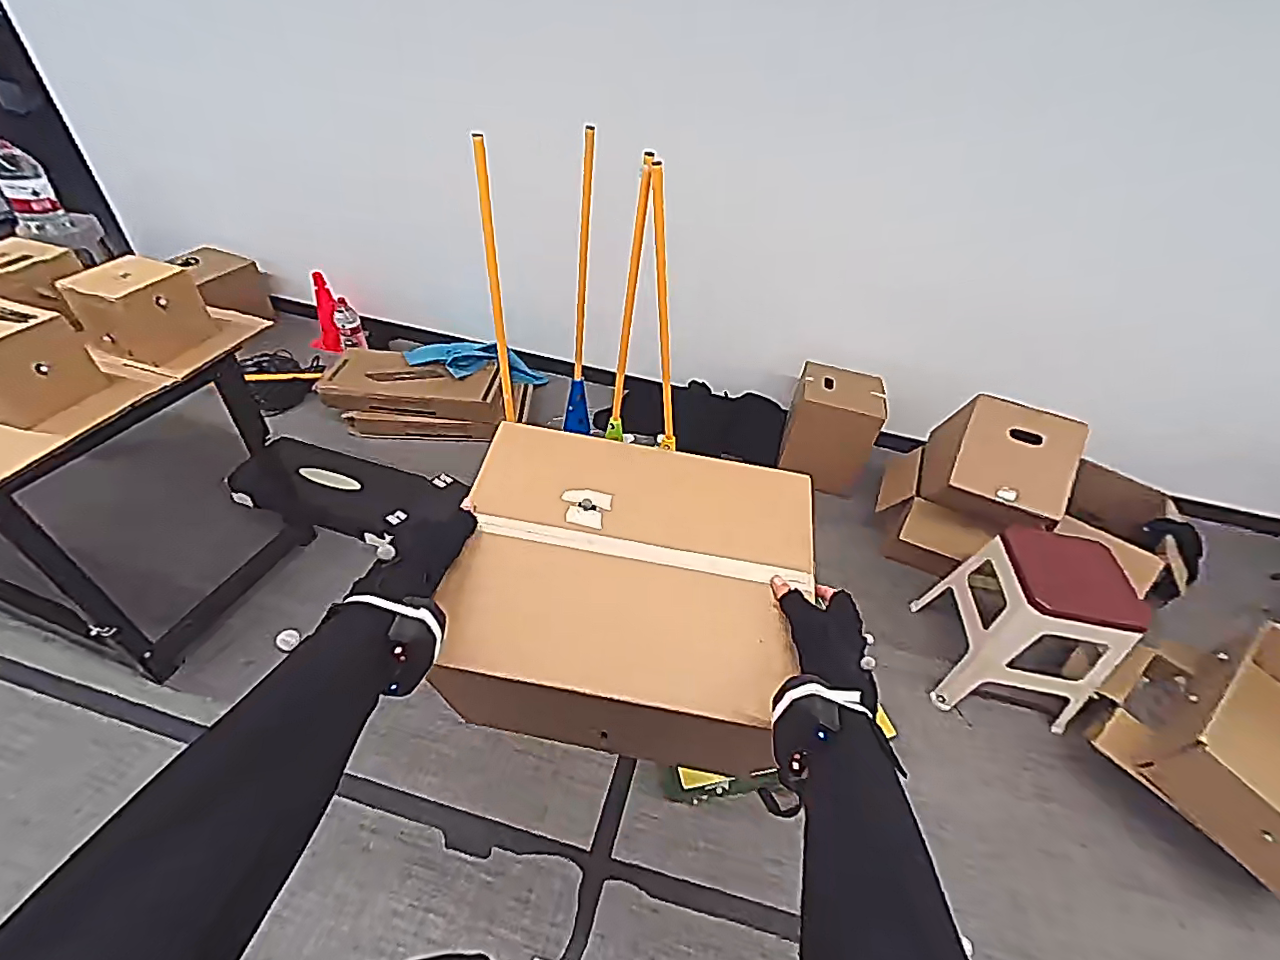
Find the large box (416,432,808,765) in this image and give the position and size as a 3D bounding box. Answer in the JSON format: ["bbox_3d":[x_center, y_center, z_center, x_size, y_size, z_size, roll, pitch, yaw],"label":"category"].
[{"bbox_3d":[-0.016,0.173,0.741,0.408,0.320,0.320,10,54,2],"label":"large box"}]
